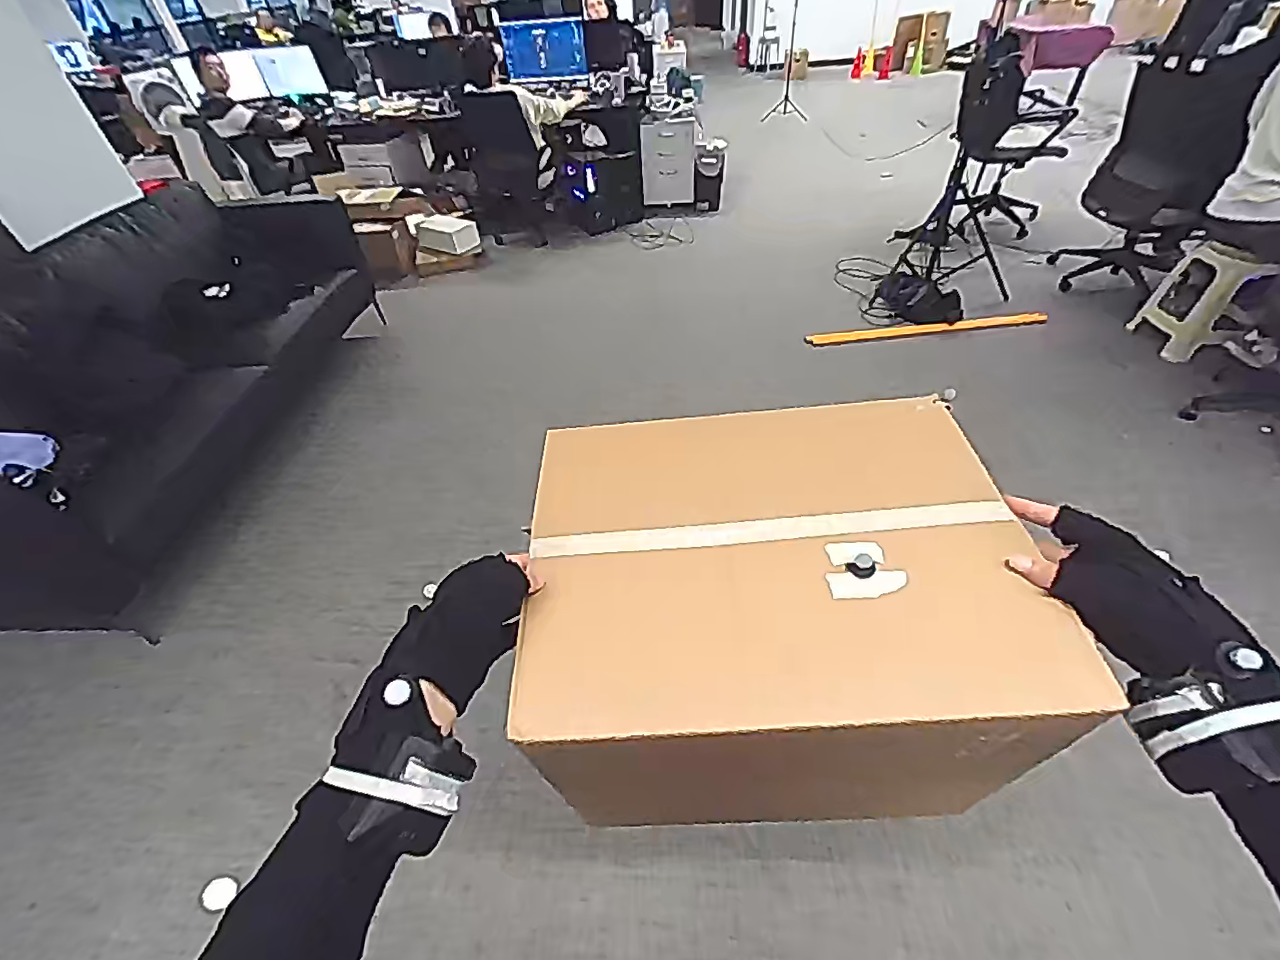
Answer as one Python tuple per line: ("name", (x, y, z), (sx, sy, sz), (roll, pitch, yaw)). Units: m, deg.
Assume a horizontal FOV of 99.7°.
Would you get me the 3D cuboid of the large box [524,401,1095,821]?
("large box", (0.122, 0.149, 0.582), (0.408, 0.320, 0.320), (-5, 49, 4))
